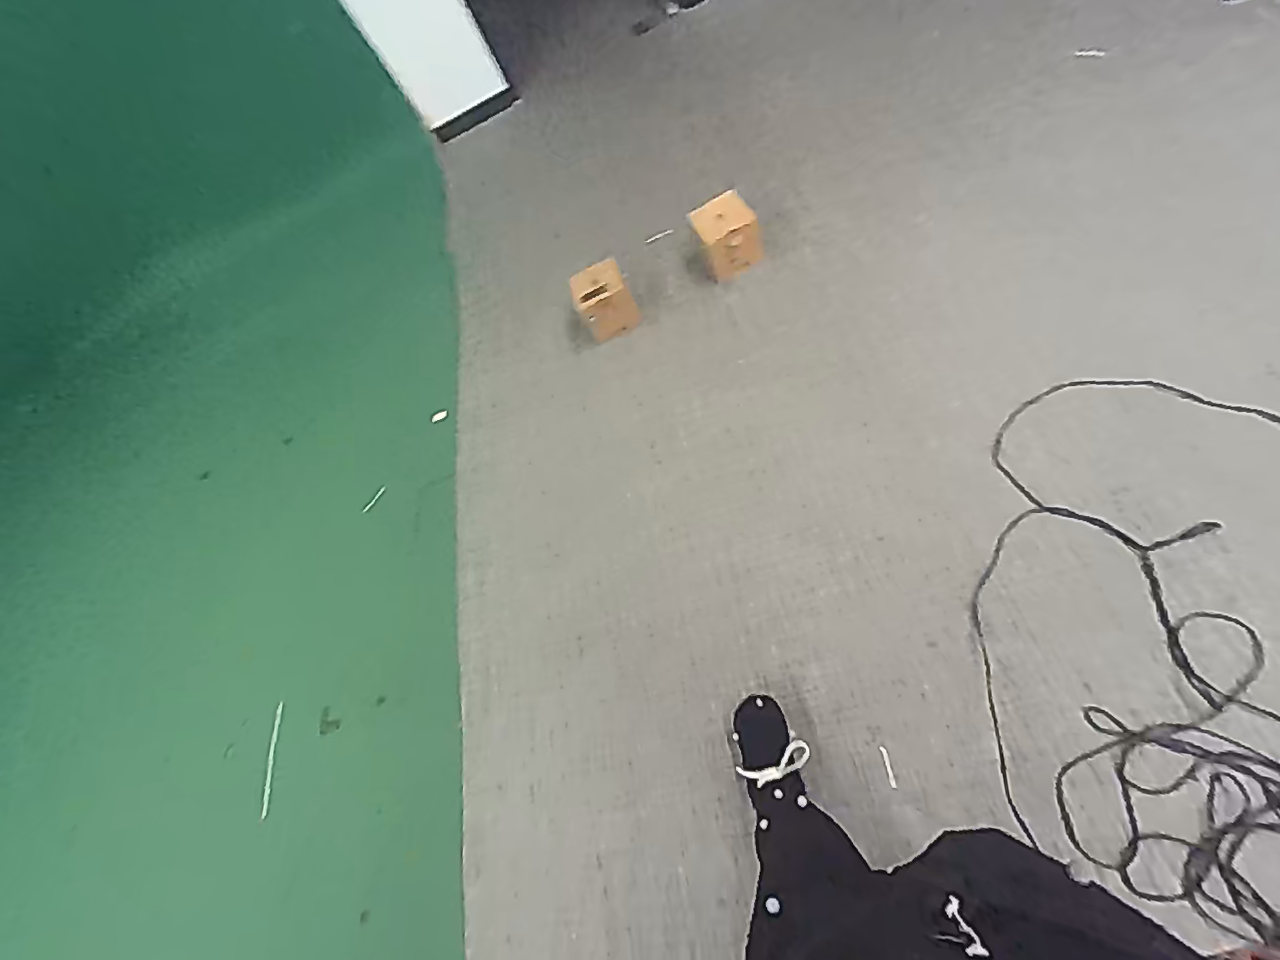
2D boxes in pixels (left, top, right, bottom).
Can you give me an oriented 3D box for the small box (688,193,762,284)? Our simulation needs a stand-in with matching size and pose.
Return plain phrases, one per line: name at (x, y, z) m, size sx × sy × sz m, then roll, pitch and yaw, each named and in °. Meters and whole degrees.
small box at (0.278, -0.777, 1.753) m, size 0.168 × 0.176 × 0.179 m, roll -27°, pitch 59°, yaw 7°
